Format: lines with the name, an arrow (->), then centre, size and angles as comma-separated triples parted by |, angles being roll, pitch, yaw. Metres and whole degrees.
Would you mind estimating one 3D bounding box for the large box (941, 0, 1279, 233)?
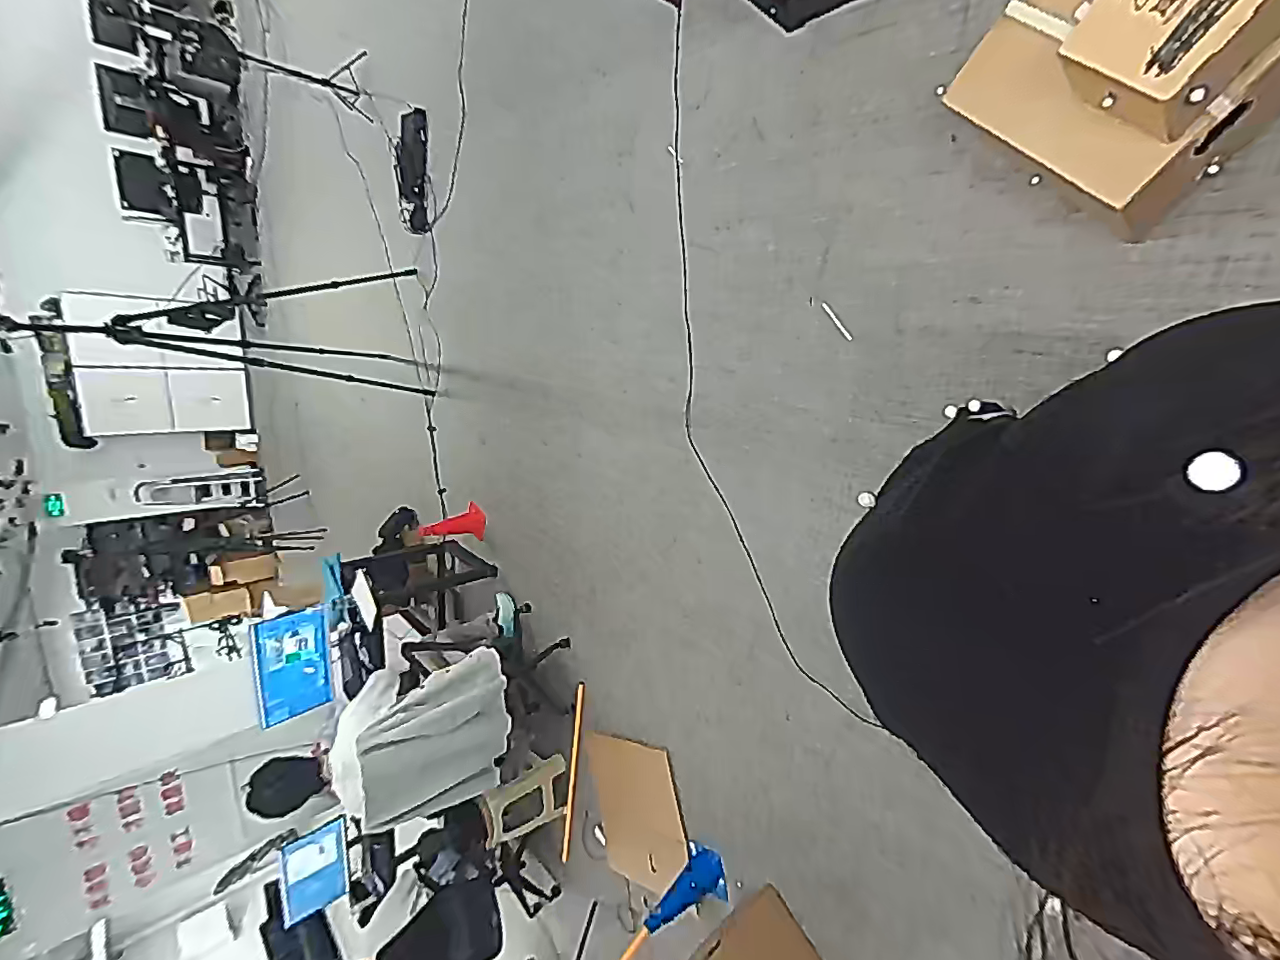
large box -> 0.870, -0.719, 0.986 | 0.408, 0.320, 0.320 | 56, 131, 25
